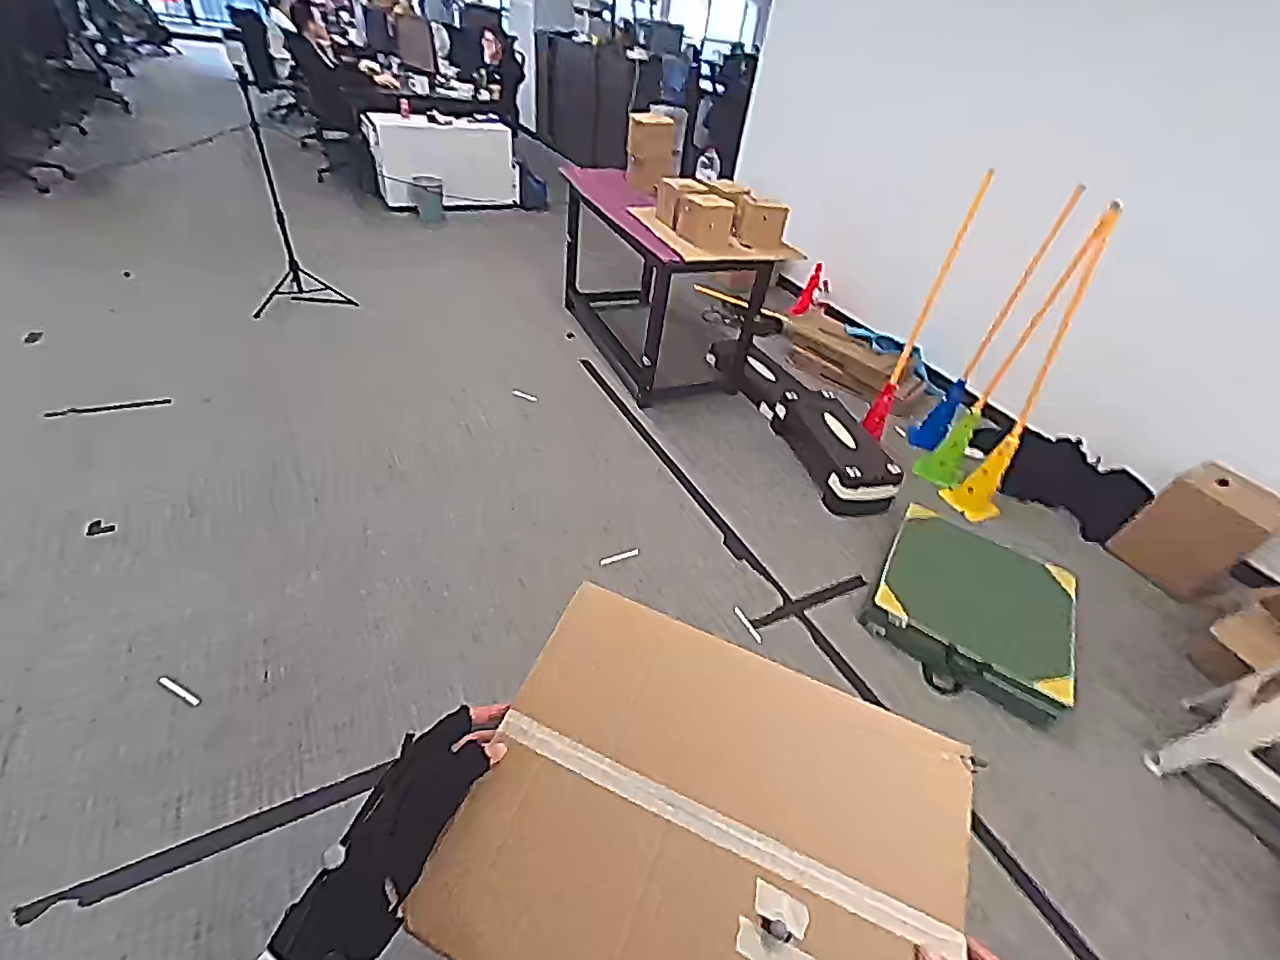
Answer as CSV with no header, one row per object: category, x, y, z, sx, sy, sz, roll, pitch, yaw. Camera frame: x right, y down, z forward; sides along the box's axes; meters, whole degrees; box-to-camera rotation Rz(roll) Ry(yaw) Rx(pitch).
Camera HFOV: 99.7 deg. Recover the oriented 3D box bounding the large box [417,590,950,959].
large box,0.050,0.385,0.591,0.408,0.320,0.320,21,54,11
